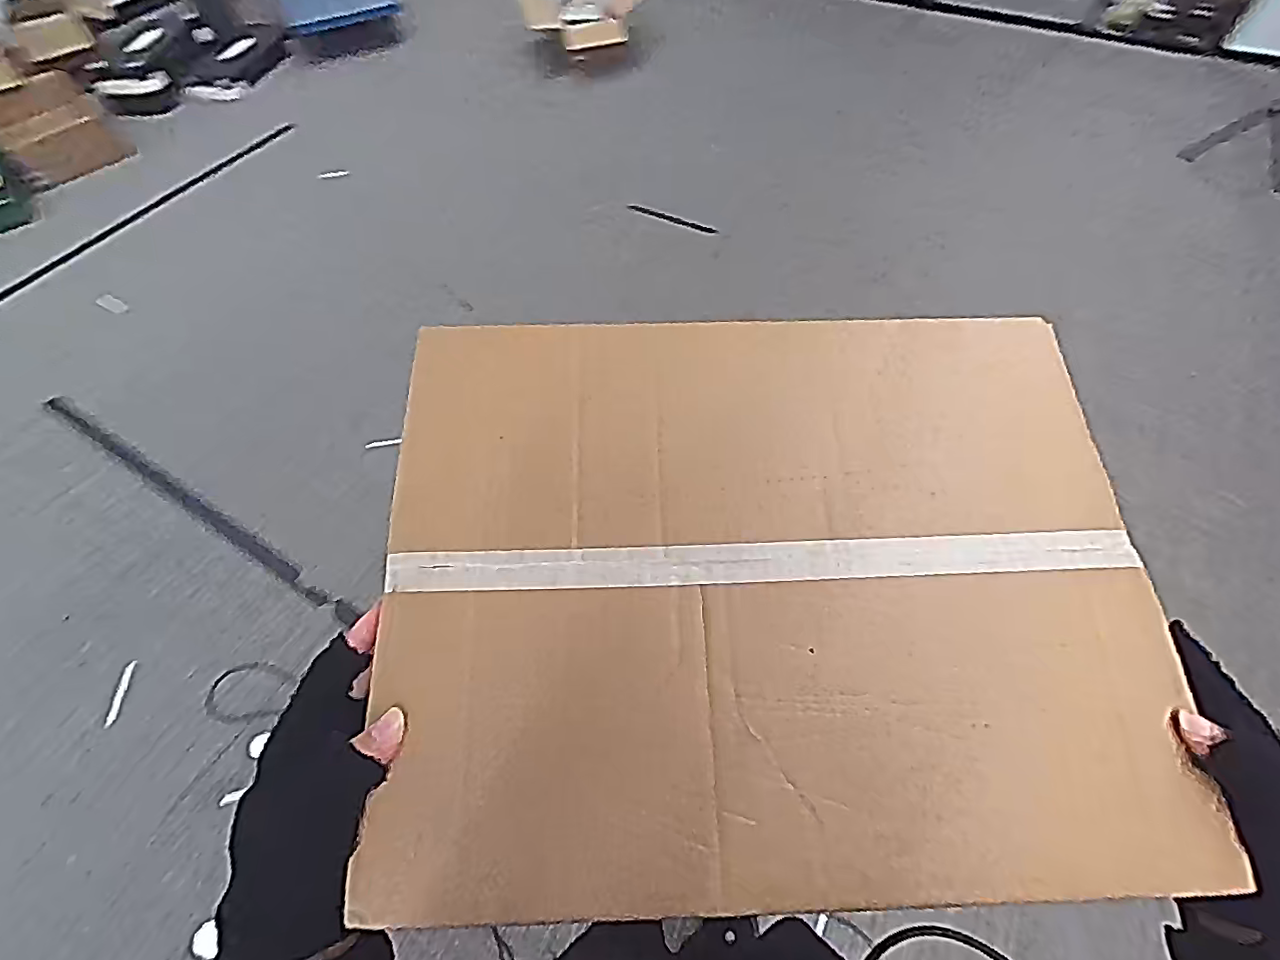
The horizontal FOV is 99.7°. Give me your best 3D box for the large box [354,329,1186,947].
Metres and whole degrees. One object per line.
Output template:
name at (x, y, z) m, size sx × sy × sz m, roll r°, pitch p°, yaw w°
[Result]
large box at (0.057, 0.105, 0.441) m, size 0.408 × 0.320 × 0.320 m, roll -3°, pitch 69°, yaw -2°
